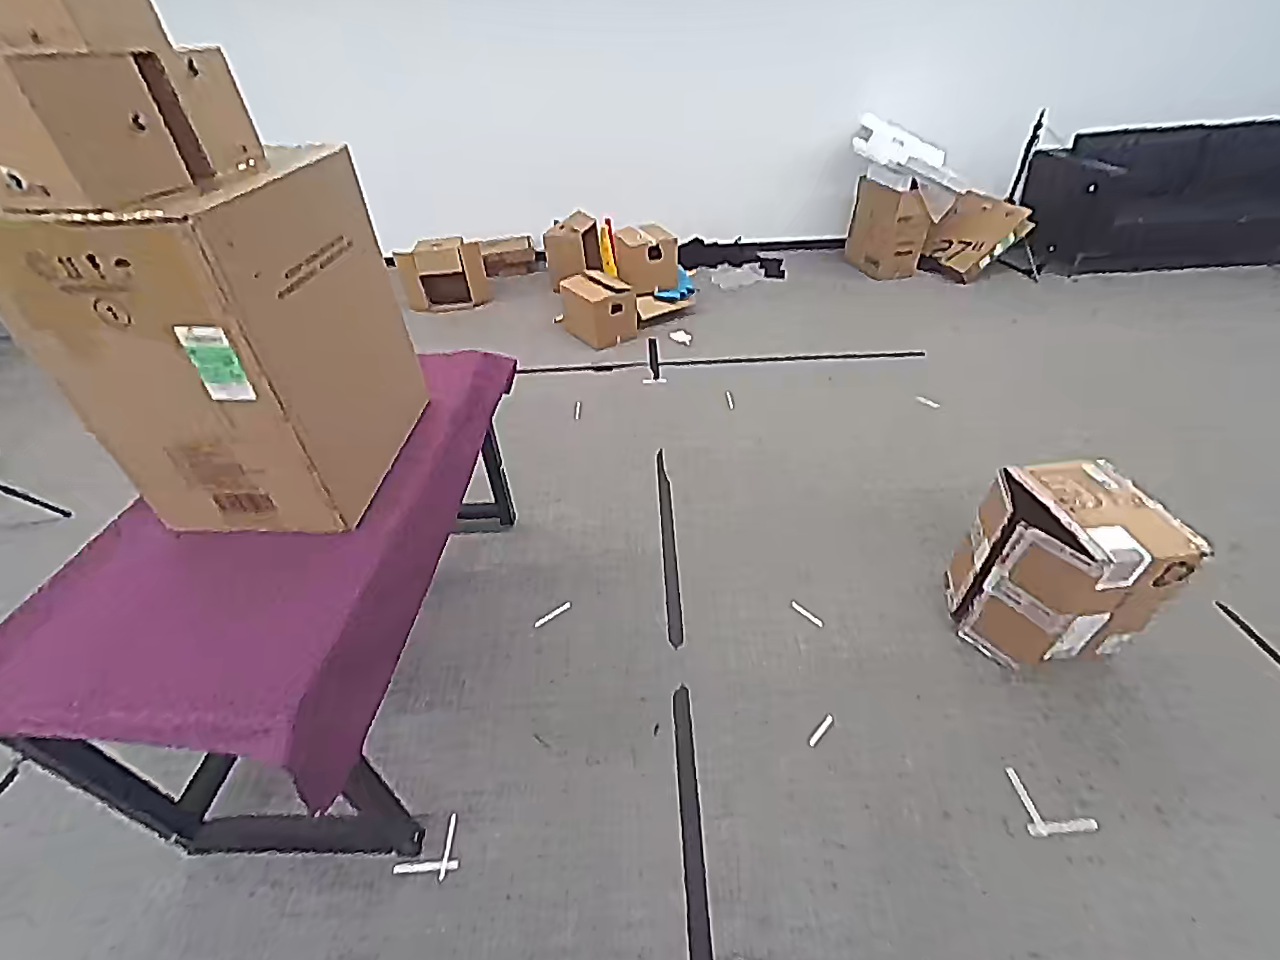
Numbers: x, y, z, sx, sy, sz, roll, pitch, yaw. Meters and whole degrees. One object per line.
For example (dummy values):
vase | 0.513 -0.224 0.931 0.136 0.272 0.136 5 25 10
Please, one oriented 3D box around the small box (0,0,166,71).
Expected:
small box | -0.818 -0.671 0.740 0.168 0.176 0.179 -2 39 0

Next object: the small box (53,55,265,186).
small box | -0.810 -0.620 0.935 0.179 0.176 0.168 -2 41 2
